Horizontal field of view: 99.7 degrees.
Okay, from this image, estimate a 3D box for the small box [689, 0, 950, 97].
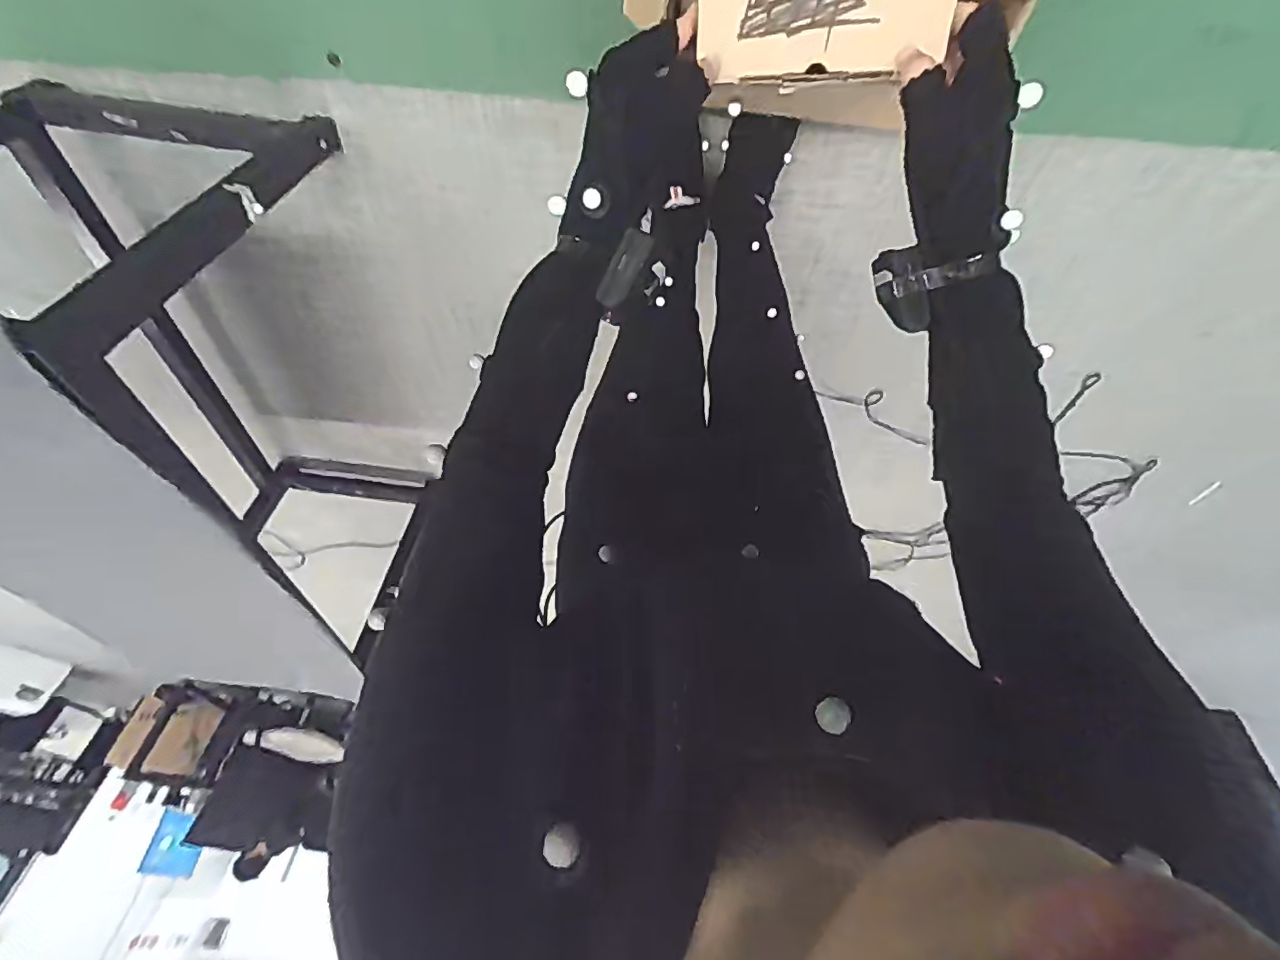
[{"bbox_3d":[0.125,-0.388,0.392,0.168,0.176,0.179,2,121,7],"label":"small box"}]
